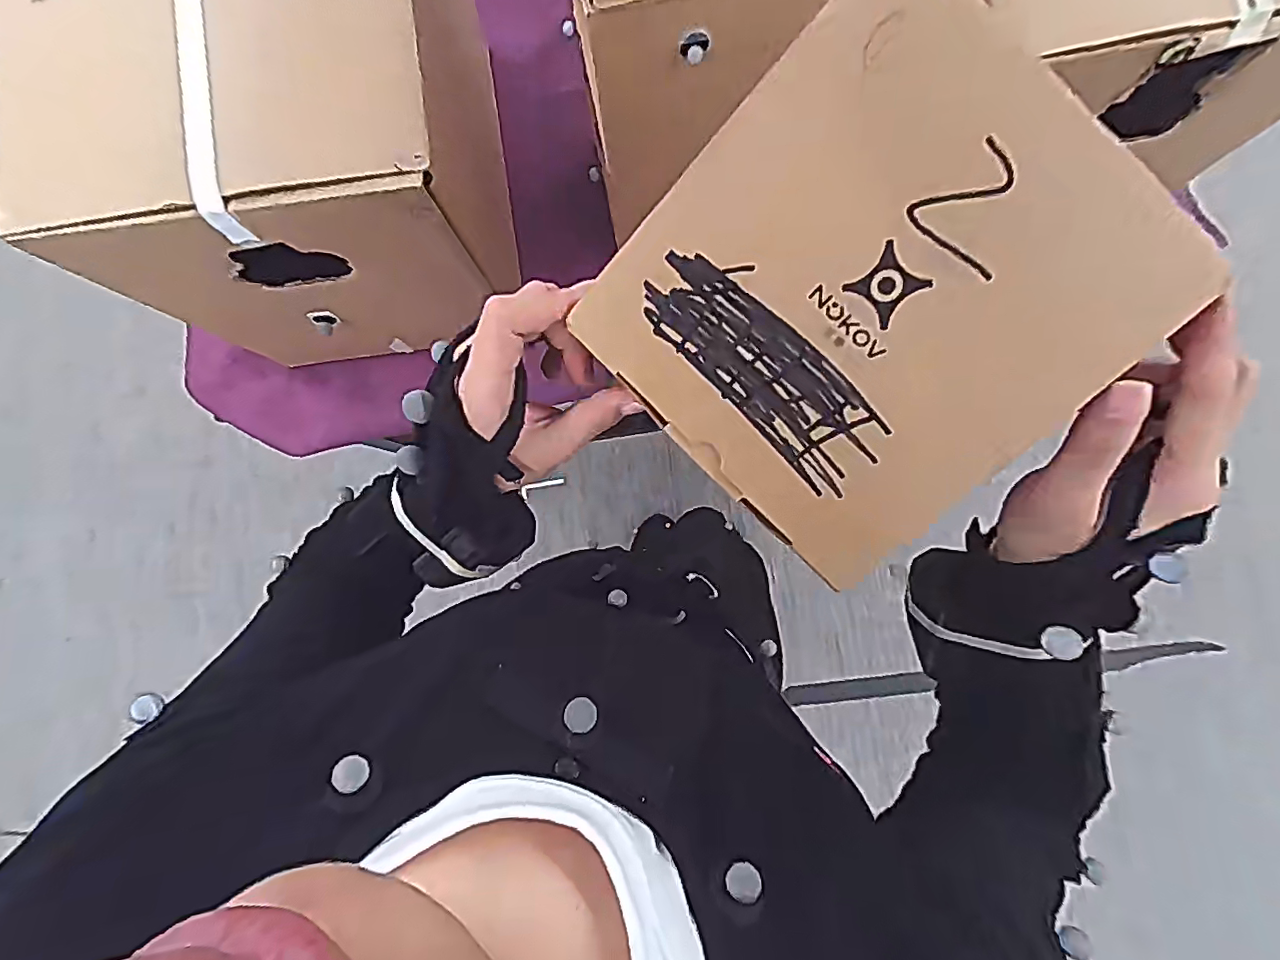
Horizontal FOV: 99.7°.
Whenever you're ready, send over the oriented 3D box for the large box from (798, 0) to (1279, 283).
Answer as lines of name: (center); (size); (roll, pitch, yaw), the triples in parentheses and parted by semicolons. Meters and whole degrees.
large box: (0.371, -0.469, 0.524); (0.320, 0.320, 0.408); (-9, 83, 1)
